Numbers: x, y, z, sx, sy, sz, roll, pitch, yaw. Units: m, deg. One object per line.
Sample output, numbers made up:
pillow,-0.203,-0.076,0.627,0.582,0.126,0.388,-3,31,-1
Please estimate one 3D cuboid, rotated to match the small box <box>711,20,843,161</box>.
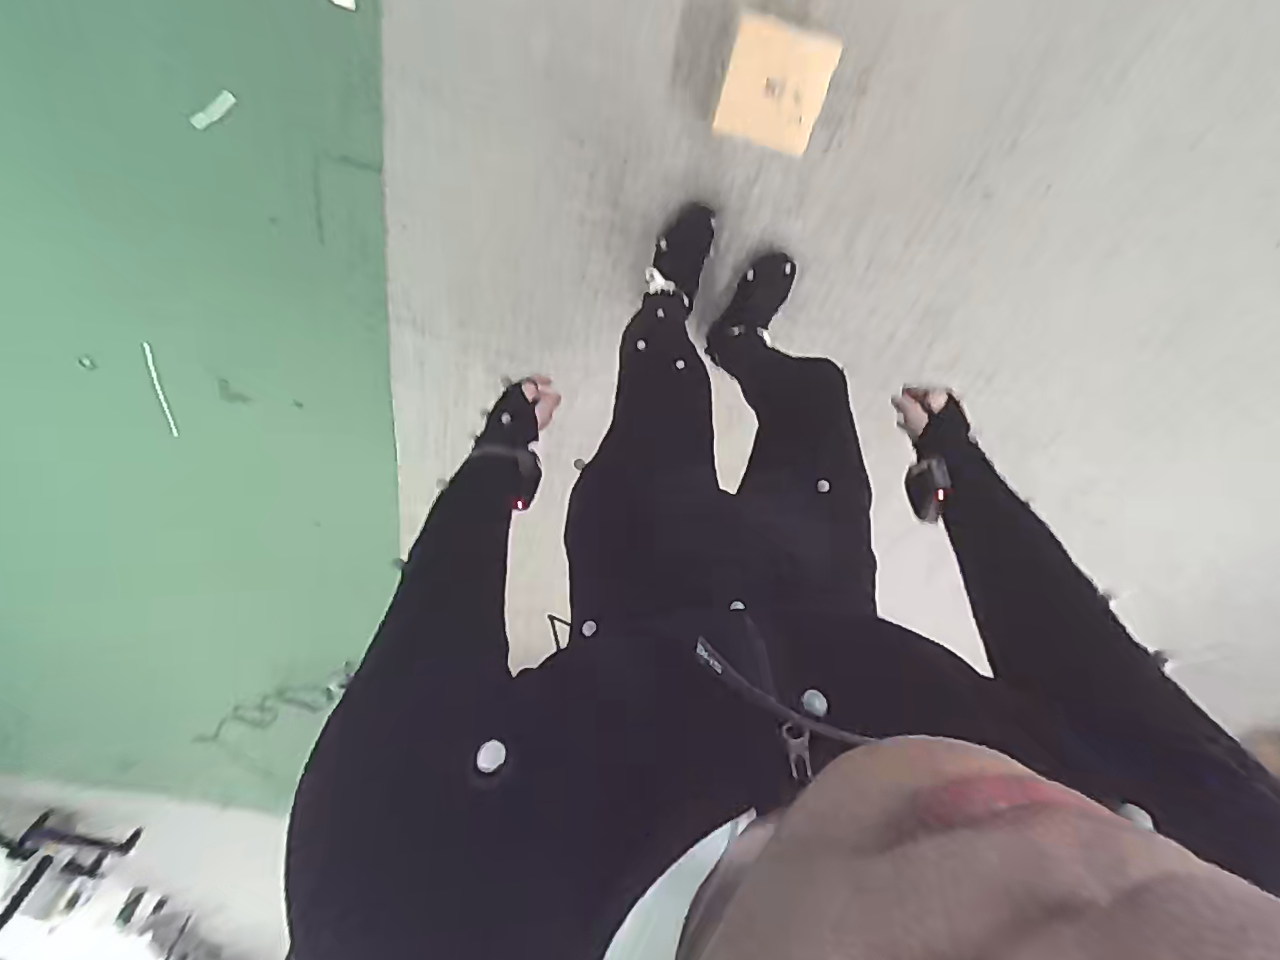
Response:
small box,0.237,-0.710,0.992,0.179,0.176,0.168,12,127,-6
